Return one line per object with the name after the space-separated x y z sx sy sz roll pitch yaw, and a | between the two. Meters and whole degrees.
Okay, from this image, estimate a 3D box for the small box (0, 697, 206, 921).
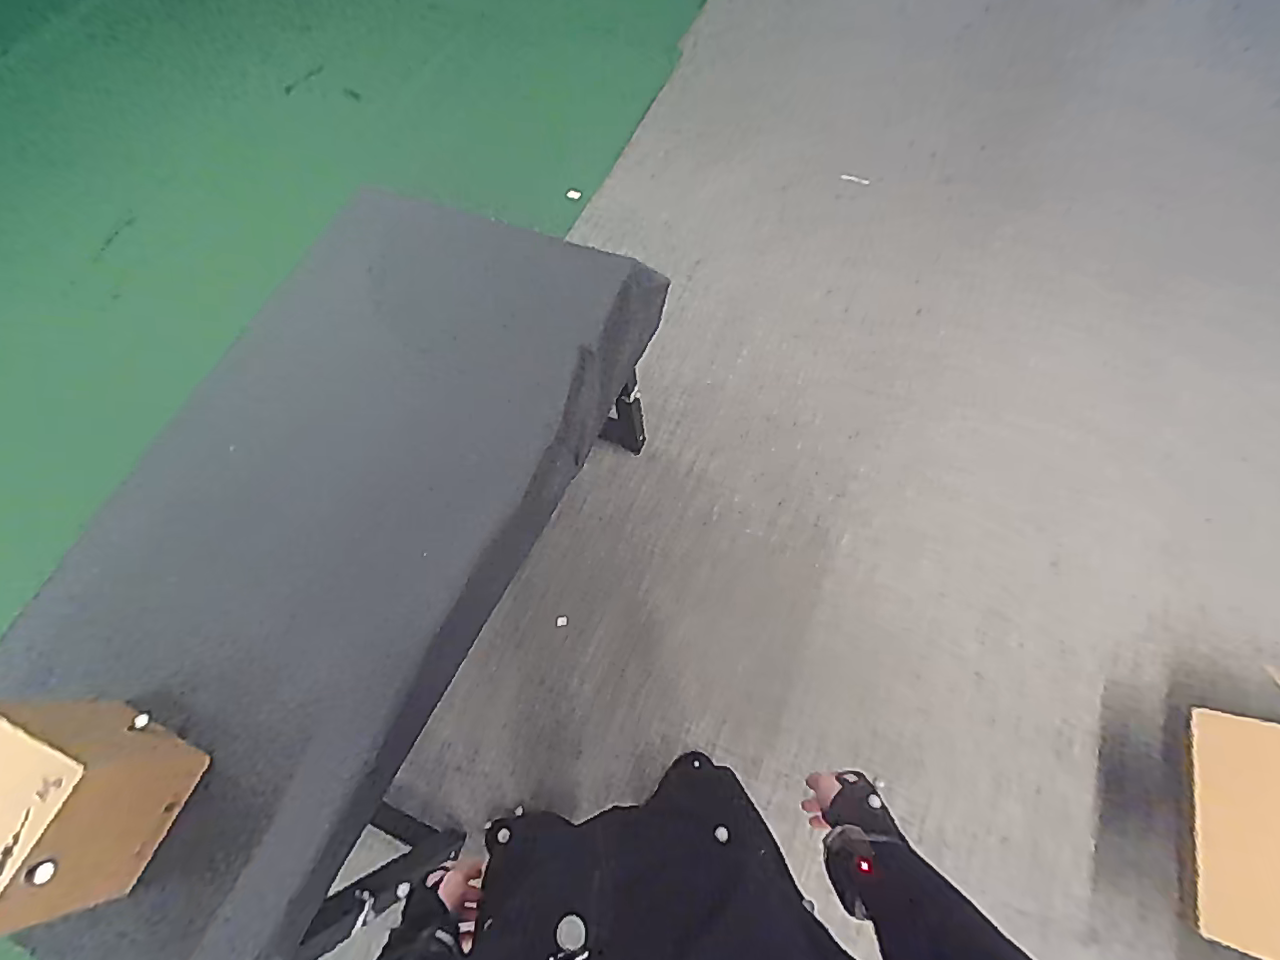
-0.675 0.367 0.625 0.179 0.176 0.168 19 72 12 | small box
